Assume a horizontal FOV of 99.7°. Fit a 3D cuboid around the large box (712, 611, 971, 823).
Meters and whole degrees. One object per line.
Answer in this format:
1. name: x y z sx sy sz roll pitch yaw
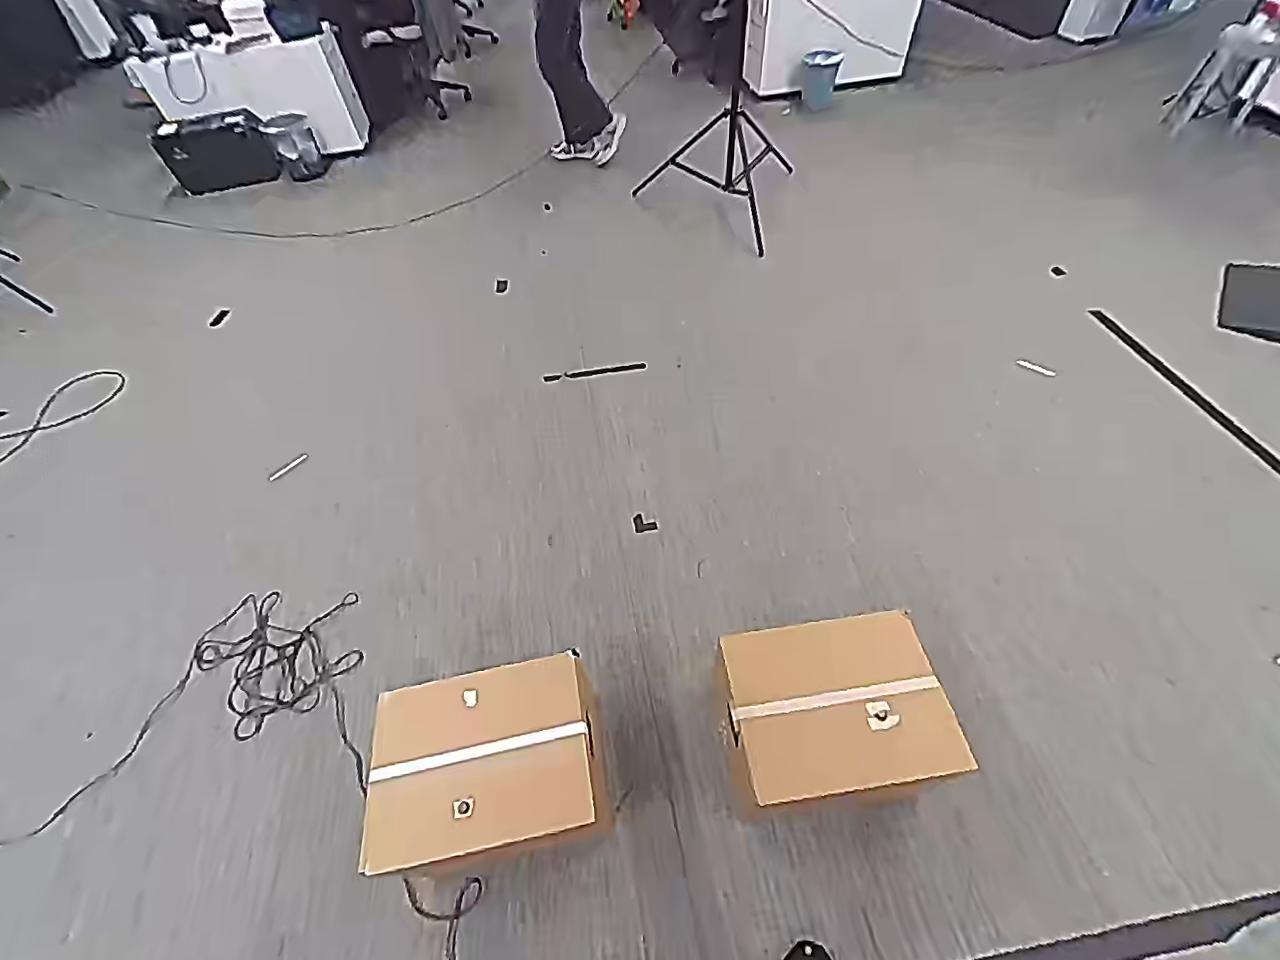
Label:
1. large box: 0.392 0.519 1.177 0.408 0.320 0.320 -7 52 -3
